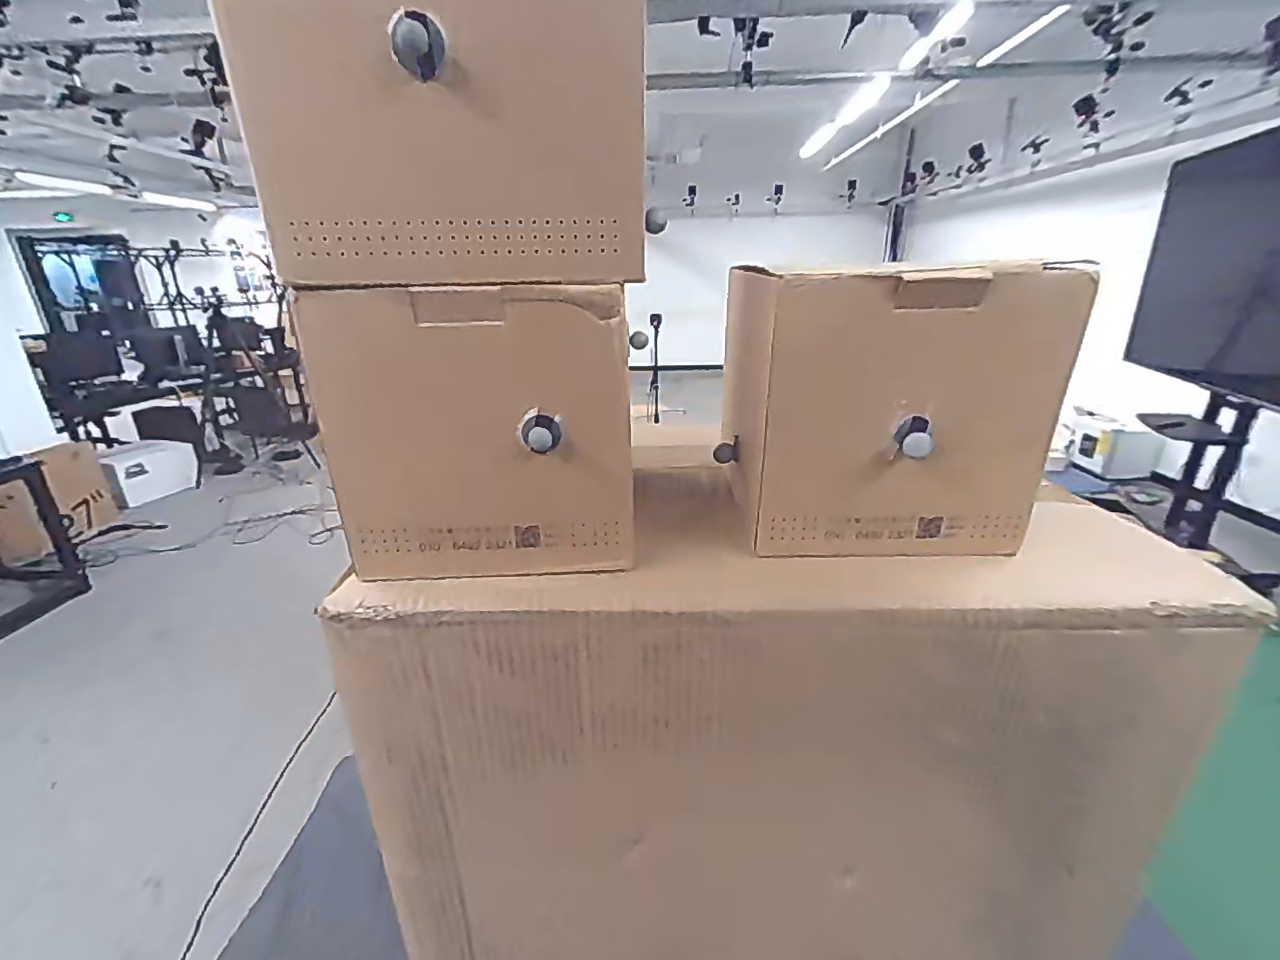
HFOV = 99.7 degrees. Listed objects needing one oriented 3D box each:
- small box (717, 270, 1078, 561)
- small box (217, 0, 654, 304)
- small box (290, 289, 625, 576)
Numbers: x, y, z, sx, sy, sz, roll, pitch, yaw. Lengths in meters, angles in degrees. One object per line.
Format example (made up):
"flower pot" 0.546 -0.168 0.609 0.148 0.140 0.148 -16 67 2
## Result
"small box" 0.148 -0.054 0.386 0.168 0.176 0.179 0 23 1
"small box" -0.092 -0.193 0.306 0.179 0.176 0.168 -2 24 -9
"small box" -0.094 -0.044 0.375 0.168 0.176 0.179 -1 22 -2
